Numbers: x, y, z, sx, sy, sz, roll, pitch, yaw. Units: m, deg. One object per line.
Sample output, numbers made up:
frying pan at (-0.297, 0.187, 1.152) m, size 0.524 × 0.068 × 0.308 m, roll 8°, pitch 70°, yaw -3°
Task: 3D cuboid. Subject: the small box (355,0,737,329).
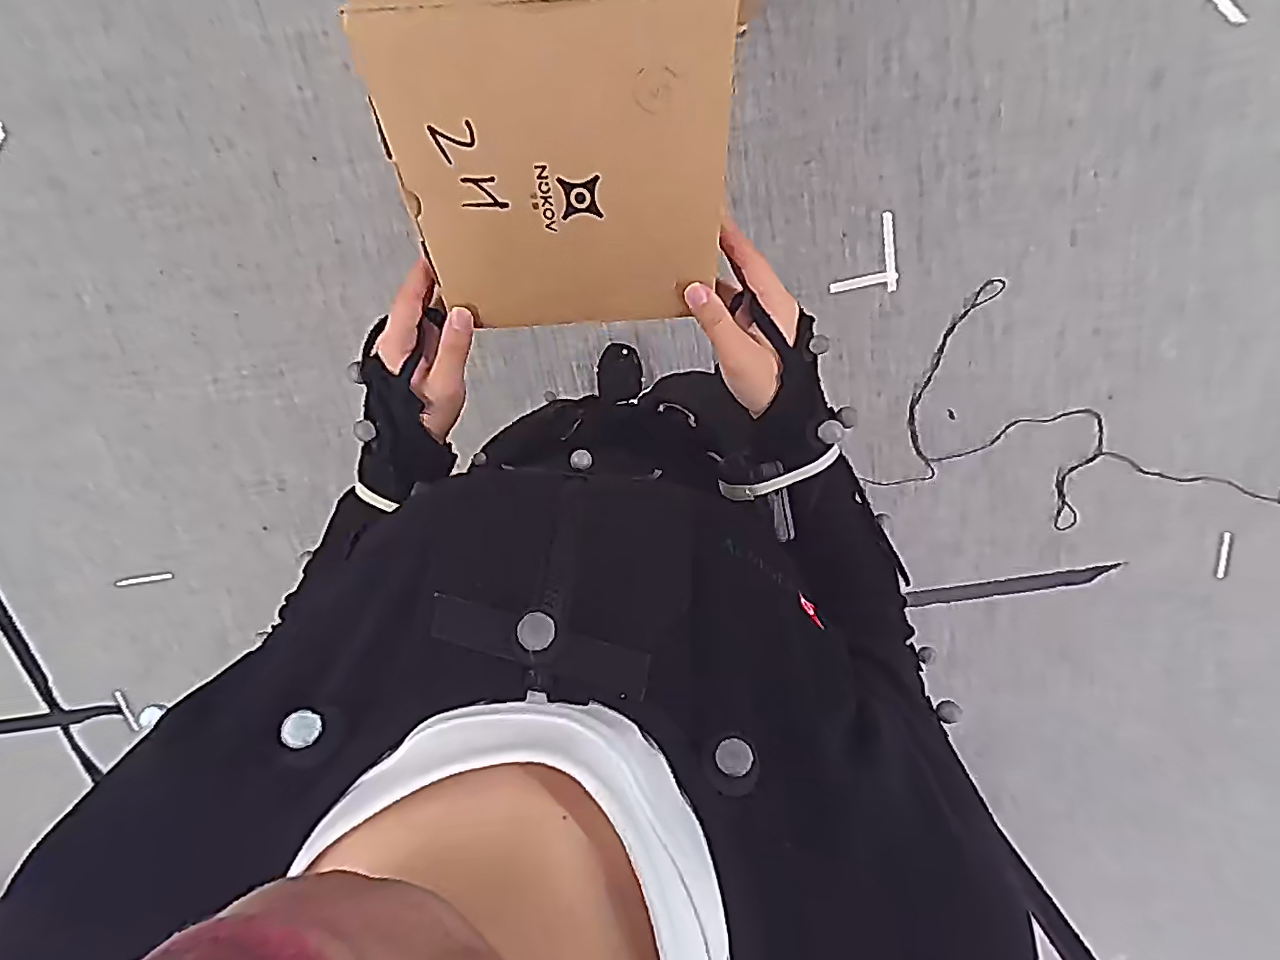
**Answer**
small box at (-0.044, -0.220, 0.351) m, size 0.179 × 0.176 × 0.168 m, roll -3°, pitch 142°, yaw 0°
